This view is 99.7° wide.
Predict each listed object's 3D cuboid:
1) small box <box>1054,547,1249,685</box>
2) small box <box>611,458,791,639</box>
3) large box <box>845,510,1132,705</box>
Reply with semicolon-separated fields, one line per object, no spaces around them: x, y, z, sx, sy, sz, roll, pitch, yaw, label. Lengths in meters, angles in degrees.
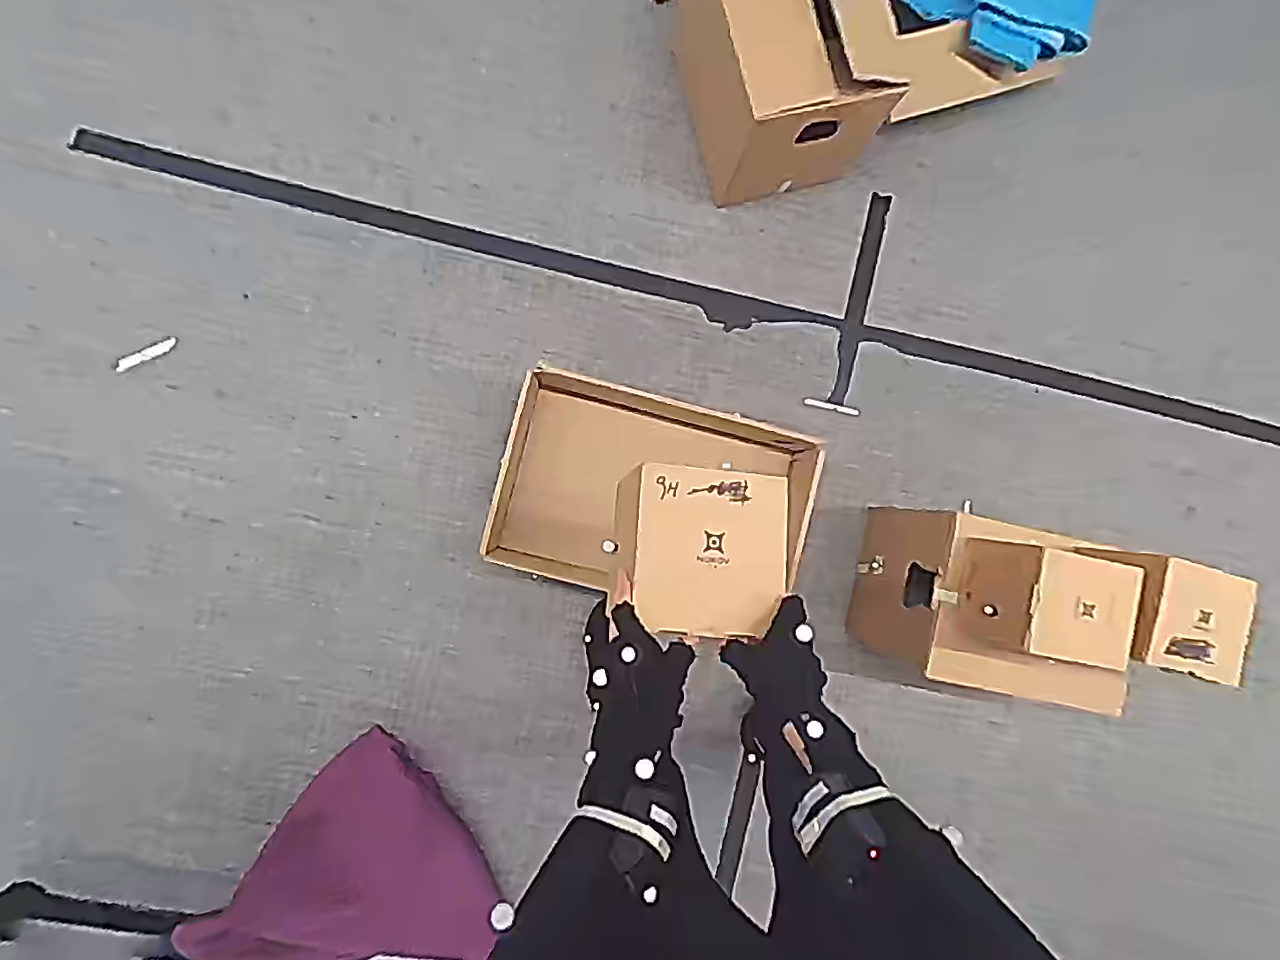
0.870;0.225;0.938;0.168;0.176;0.179;17;86;-5;small box
0.062;0.082;0.642;0.168;0.176;0.179;7;81;-11;small box
0.718;0.250;1.167;0.408;0.320;0.320;12;88;-6;large box
